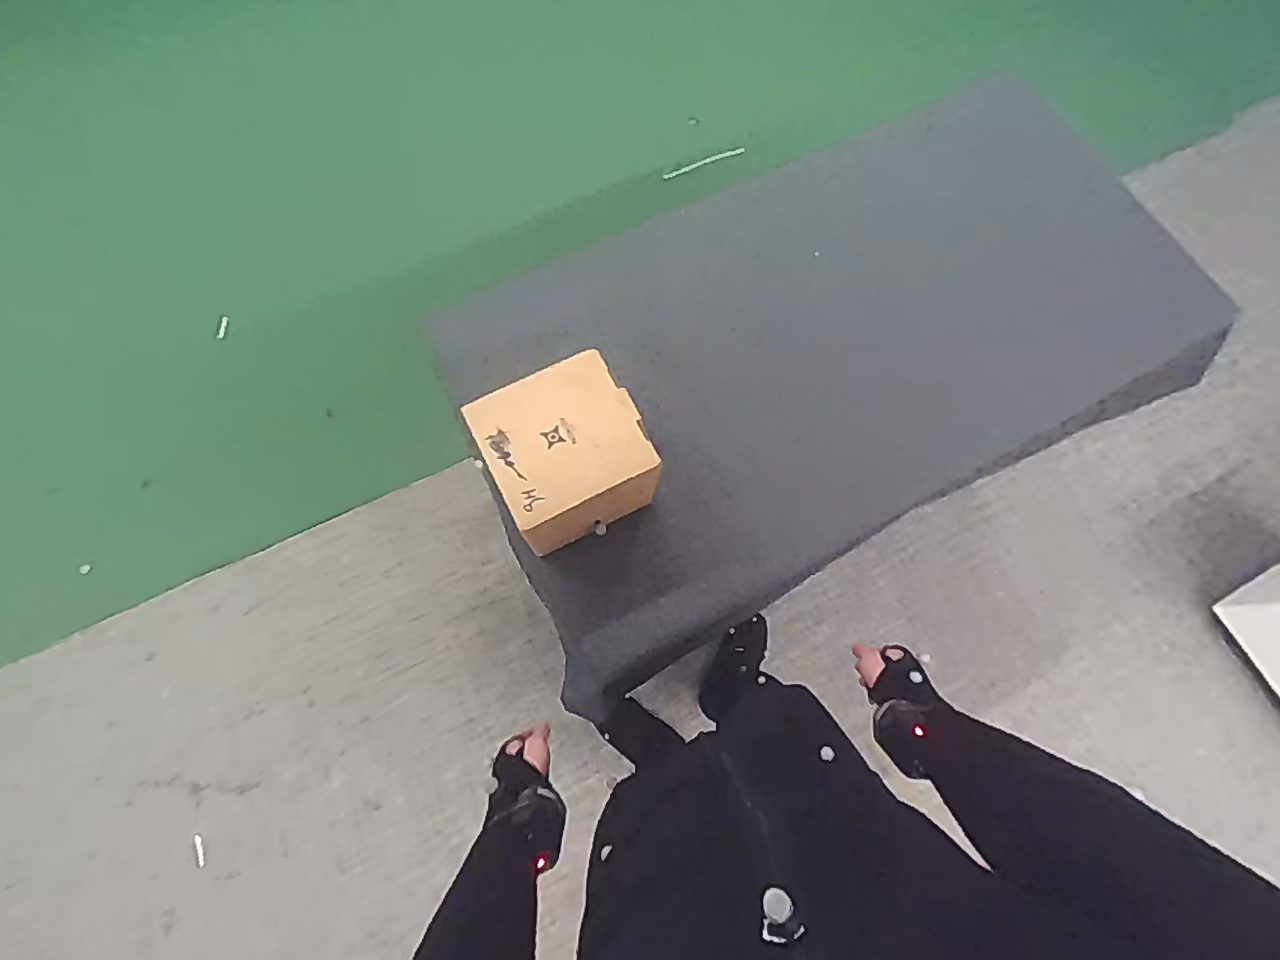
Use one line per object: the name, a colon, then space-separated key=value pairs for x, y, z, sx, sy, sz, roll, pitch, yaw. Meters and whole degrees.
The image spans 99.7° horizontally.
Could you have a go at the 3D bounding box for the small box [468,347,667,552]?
small box: x=-0.089 y=-0.029 z=0.674 sx=0.179 sy=0.176 sz=0.168 roll=-25 pitch=75 yaw=-13
